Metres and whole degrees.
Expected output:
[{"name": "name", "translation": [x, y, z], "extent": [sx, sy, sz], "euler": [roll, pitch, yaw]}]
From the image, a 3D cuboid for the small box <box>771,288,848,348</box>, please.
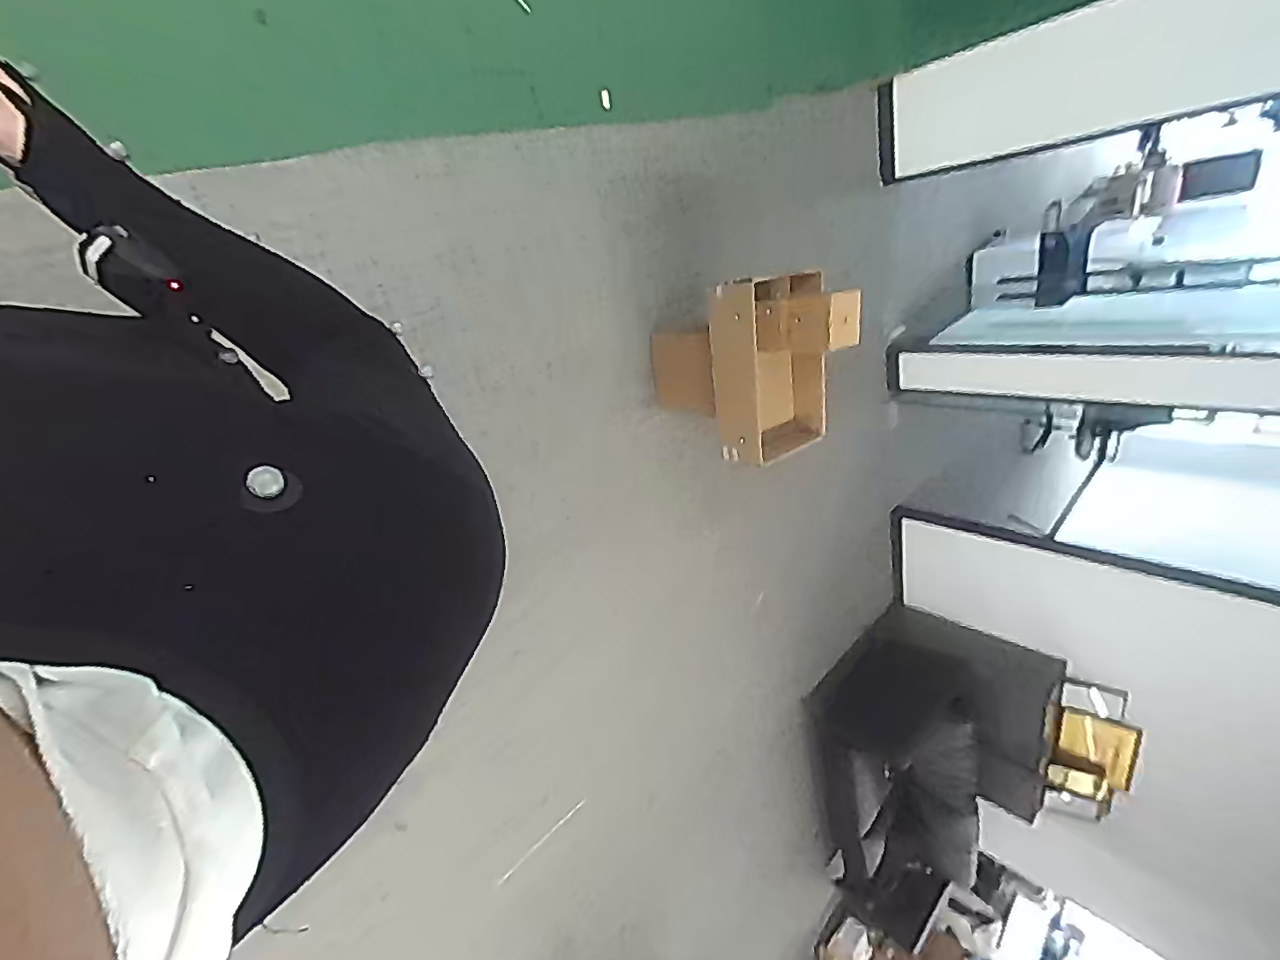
[{"name": "small box", "translation": [0.542, -0.524, 1.735], "extent": [0.179, 0.176, 0.168], "euler": [-22, 116, -37]}]
